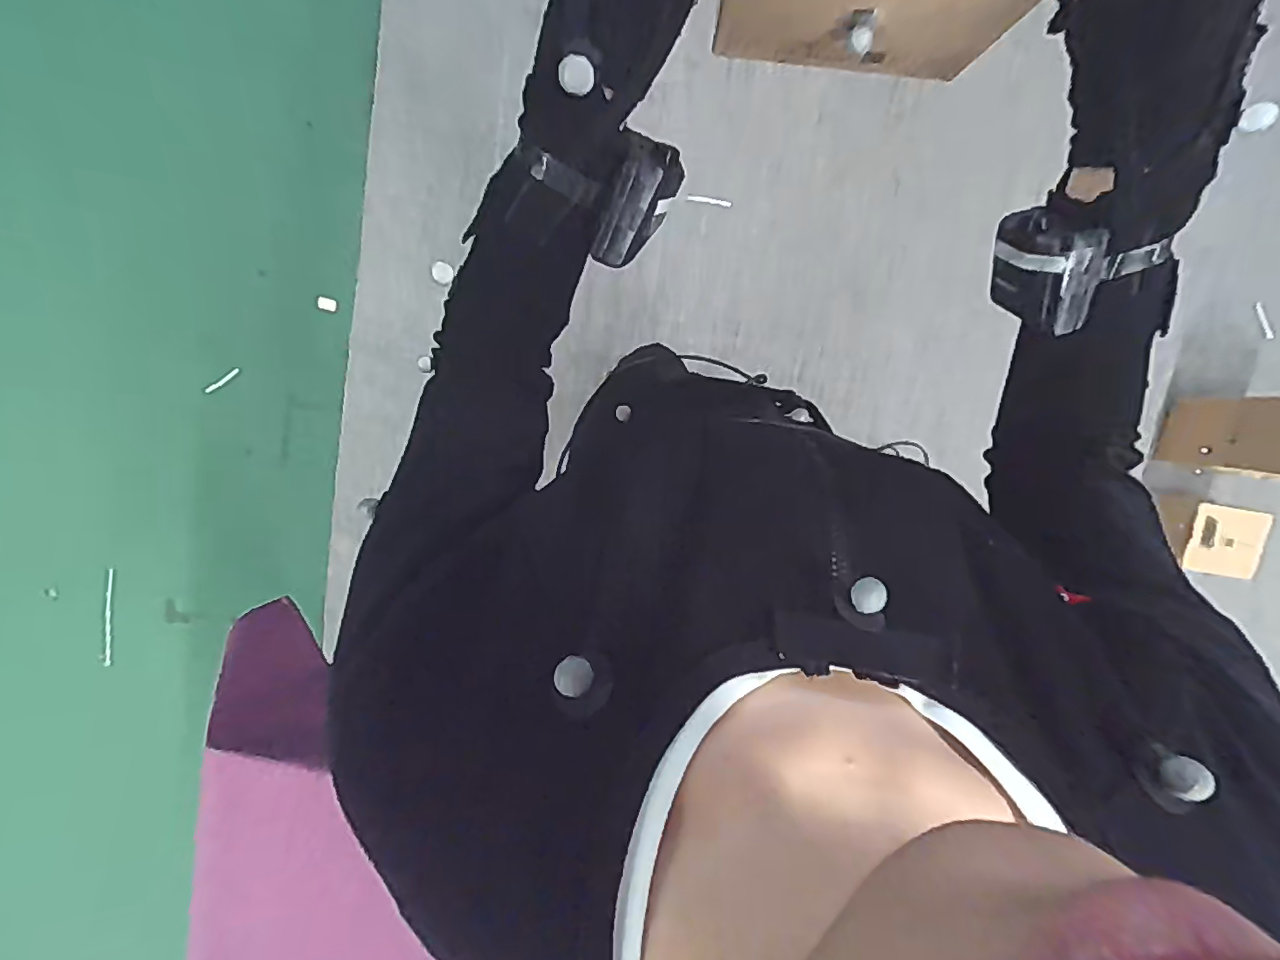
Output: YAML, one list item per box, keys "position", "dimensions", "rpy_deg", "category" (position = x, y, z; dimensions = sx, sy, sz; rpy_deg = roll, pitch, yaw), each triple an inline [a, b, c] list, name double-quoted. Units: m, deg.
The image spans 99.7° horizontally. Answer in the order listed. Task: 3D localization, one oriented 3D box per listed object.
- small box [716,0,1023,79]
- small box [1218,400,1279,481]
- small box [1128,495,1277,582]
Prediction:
- position: [0.137, -0.348, 0.270]
  dimensions: [0.168, 0.176, 0.179]
  rpy_deg: [7, 103, -1]
  category: "small box"
- position: [1.423, -0.077, 1.151]
  dimensions: [0.179, 0.176, 0.168]
  rpy_deg: [10, 98, 0]
  category: "small box"
- position: [1.386, 0.139, 1.348]
  dimensions: [0.179, 0.176, 0.168]
  rpy_deg: [10, 99, 0]
  category: "small box"
